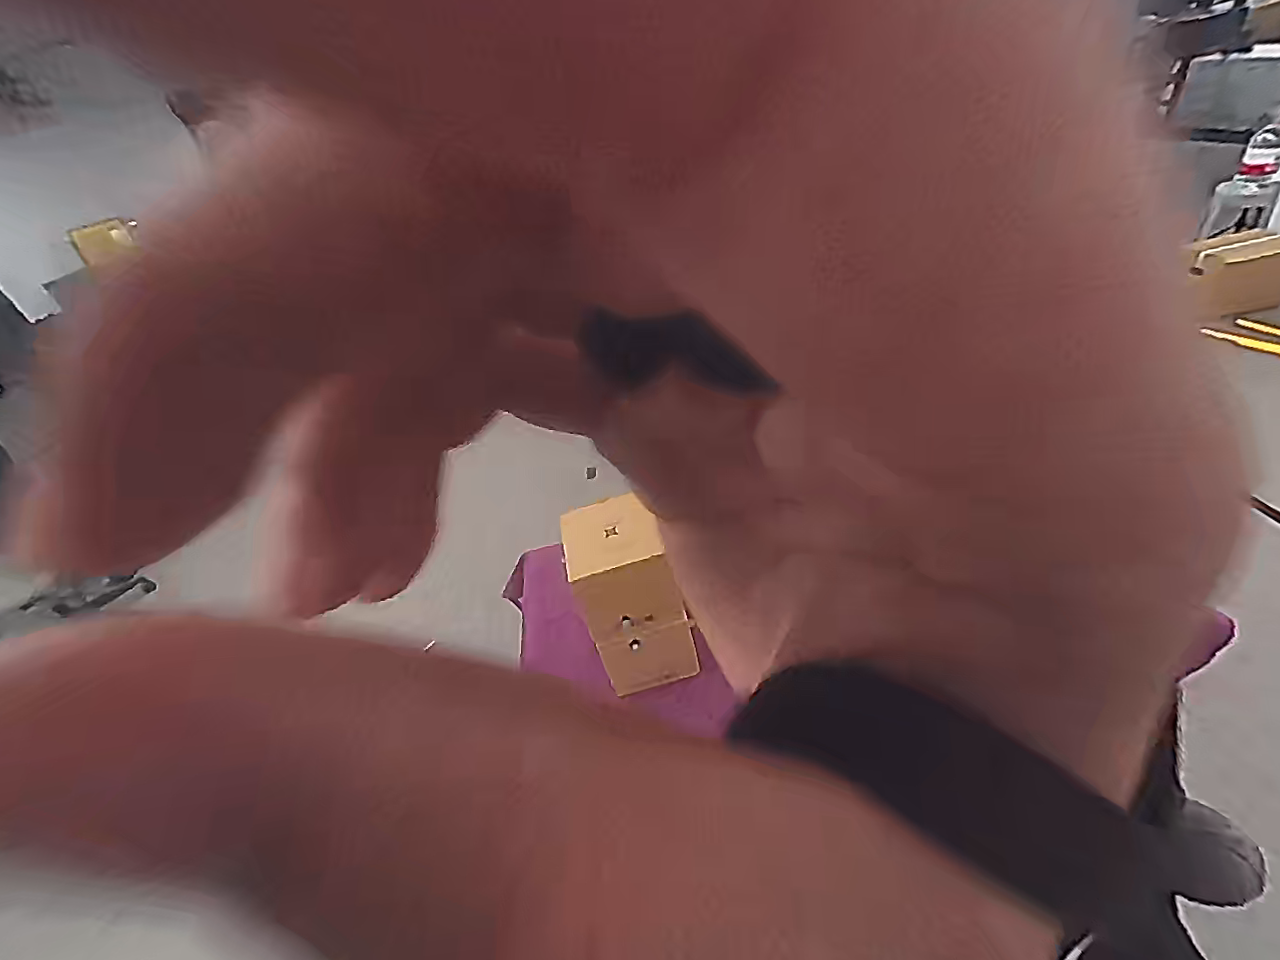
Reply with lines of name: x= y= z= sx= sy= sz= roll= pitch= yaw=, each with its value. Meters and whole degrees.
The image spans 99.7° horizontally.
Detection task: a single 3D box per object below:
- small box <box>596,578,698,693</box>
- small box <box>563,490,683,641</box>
small box: x=0.007 y=0.276 z=1.046 sx=0.168 sy=0.176 sz=0.179 roll=-15 pitch=36 yaw=-1
small box: x=-0.031 y=0.149 z=0.951 sx=0.168 sy=0.176 sz=0.179 roll=-16 pitch=37 yaw=-2
